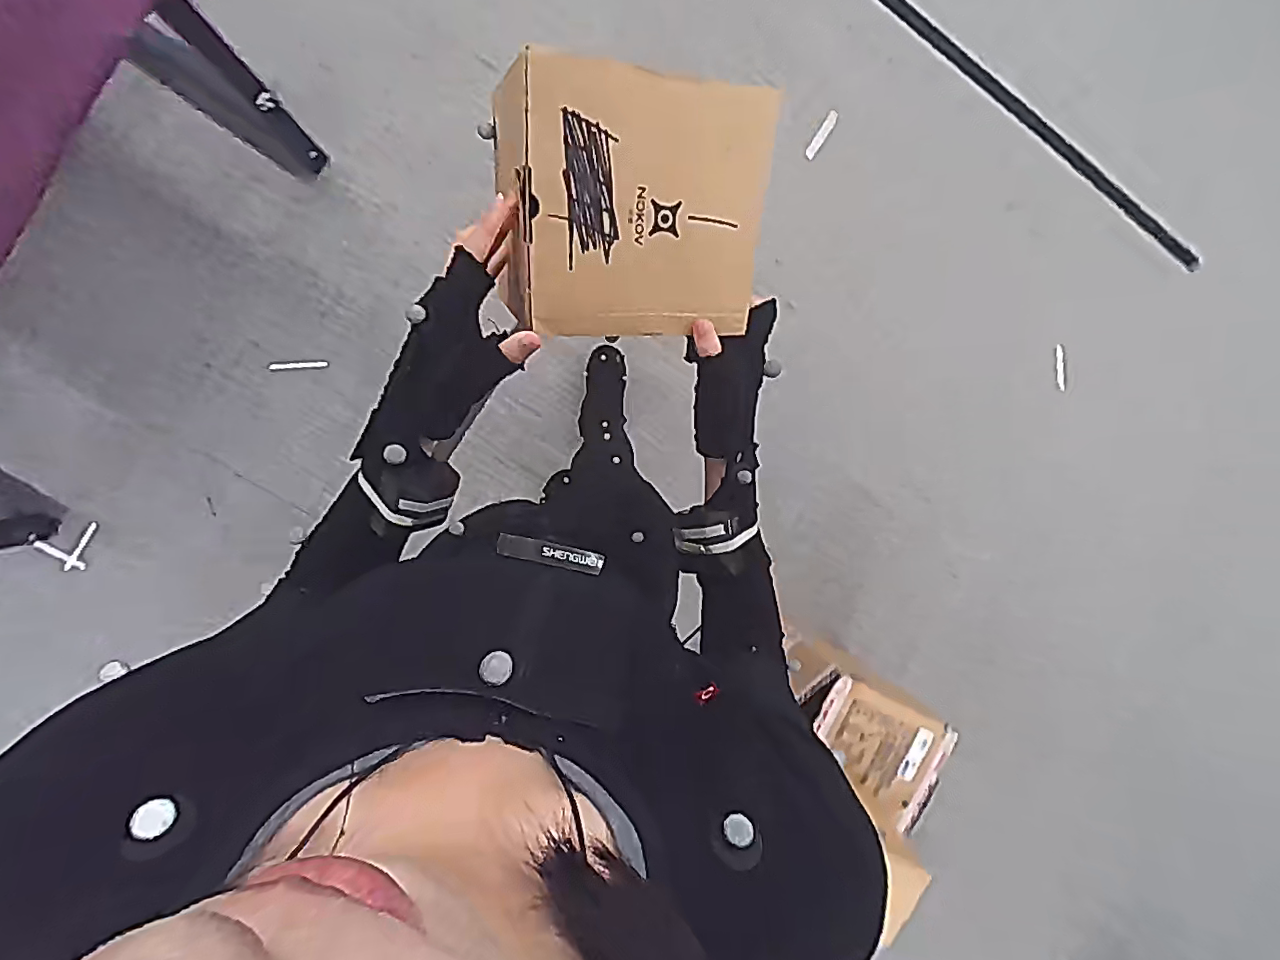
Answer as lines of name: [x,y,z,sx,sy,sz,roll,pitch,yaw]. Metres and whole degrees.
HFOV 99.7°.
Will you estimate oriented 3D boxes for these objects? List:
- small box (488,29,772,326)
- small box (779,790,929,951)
small box: [-0.025,-0.222,0.433,0.179,0.176,0.168,-6,118,-20]
small box: [0.408,0.752,1.058,0.179,0.176,0.168,29,92,-11]
